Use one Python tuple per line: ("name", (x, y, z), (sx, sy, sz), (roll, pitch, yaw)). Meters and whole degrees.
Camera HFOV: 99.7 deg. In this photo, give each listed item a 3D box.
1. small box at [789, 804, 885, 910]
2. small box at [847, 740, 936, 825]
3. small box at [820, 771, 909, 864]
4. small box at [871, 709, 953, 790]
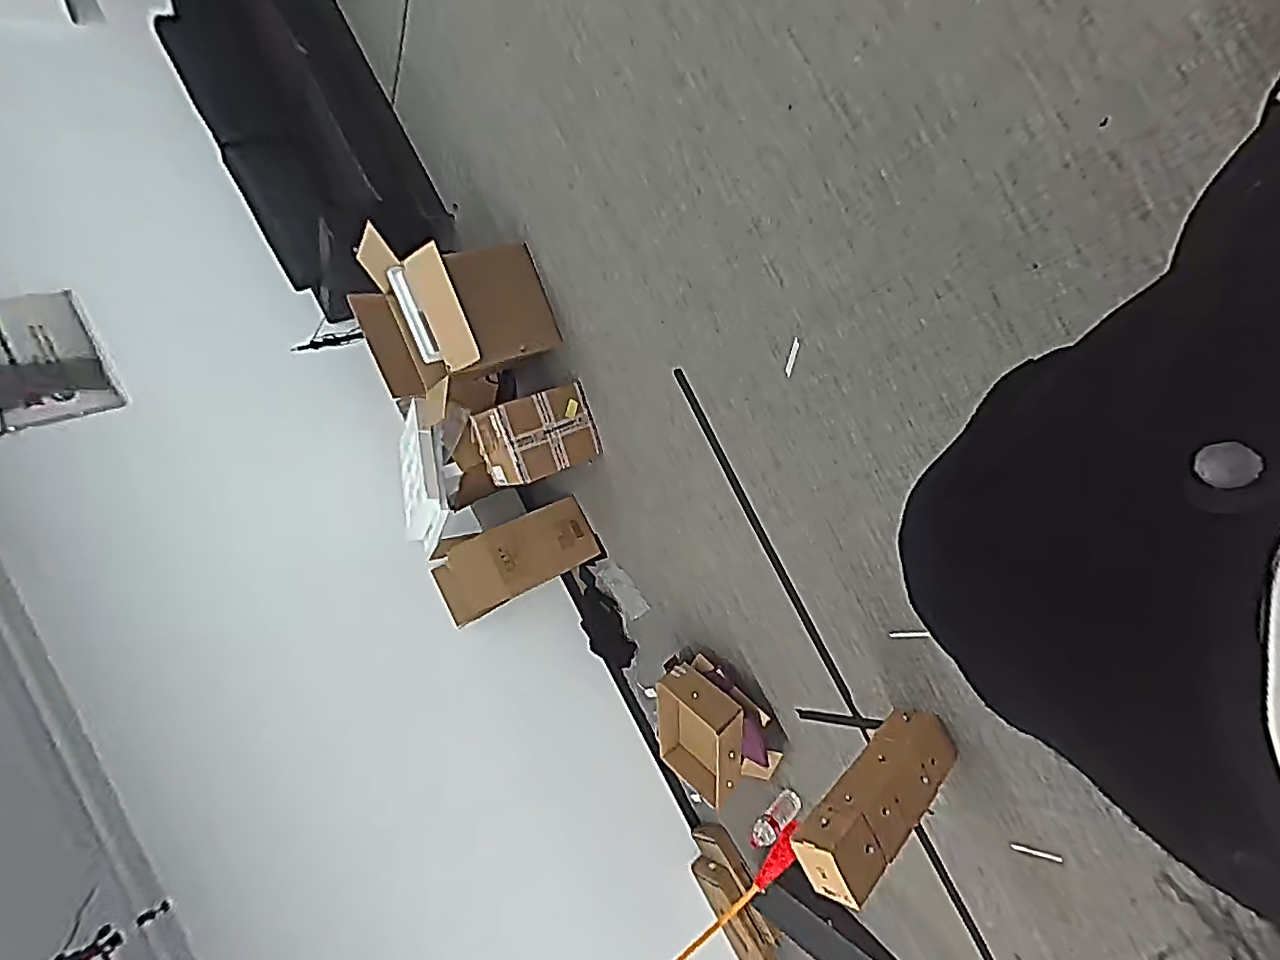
("small box", (0.585, 1.104, 1.604), (0.168, 0.176, 0.179), (-30, 86, 55))
("small box", (0.831, 0.987, 1.784), (0.179, 0.176, 0.168), (-28, 89, 55))
("small box", (0.709, 1.045, 1.694), (0.179, 0.176, 0.168), (-30, 86, 56))
("small box", (0.951, 0.930, 1.882), (0.168, 0.176, 0.179), (-28, 88, 55))
